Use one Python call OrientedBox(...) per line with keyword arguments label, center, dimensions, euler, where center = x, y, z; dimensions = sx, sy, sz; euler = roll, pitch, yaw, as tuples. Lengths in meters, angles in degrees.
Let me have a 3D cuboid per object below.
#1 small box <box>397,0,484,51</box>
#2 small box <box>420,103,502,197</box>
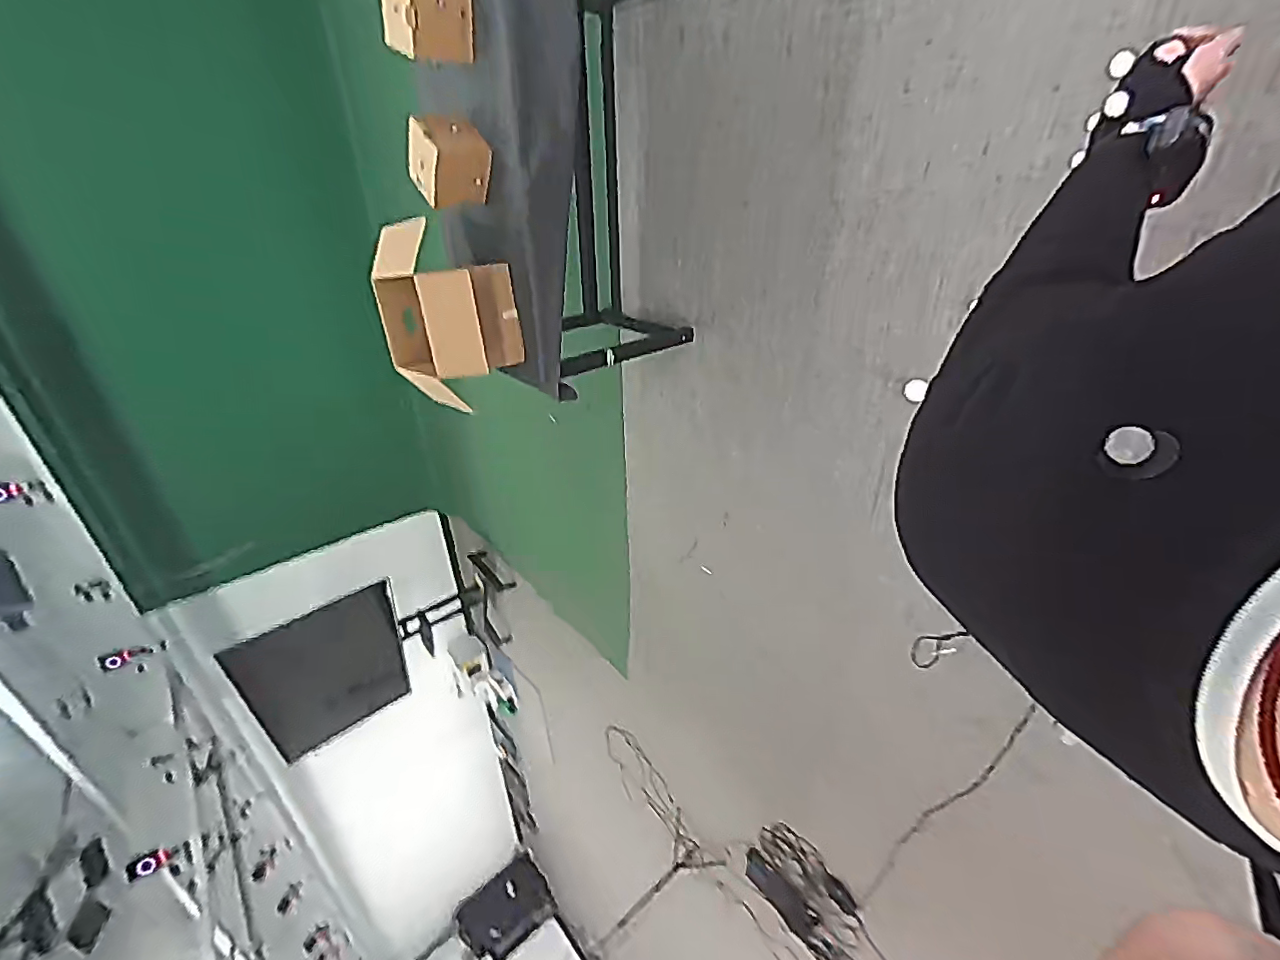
OrientedBox(label="small box", center=(-0.518, -1.244, 1.408), dimensions=(0.179, 0.176, 0.168), euler=(45, 140, 30))
OrientedBox(label="small box", center=(-0.522, -0.961, 1.581), dimensions=(0.168, 0.176, 0.179), euler=(55, 144, 15))
